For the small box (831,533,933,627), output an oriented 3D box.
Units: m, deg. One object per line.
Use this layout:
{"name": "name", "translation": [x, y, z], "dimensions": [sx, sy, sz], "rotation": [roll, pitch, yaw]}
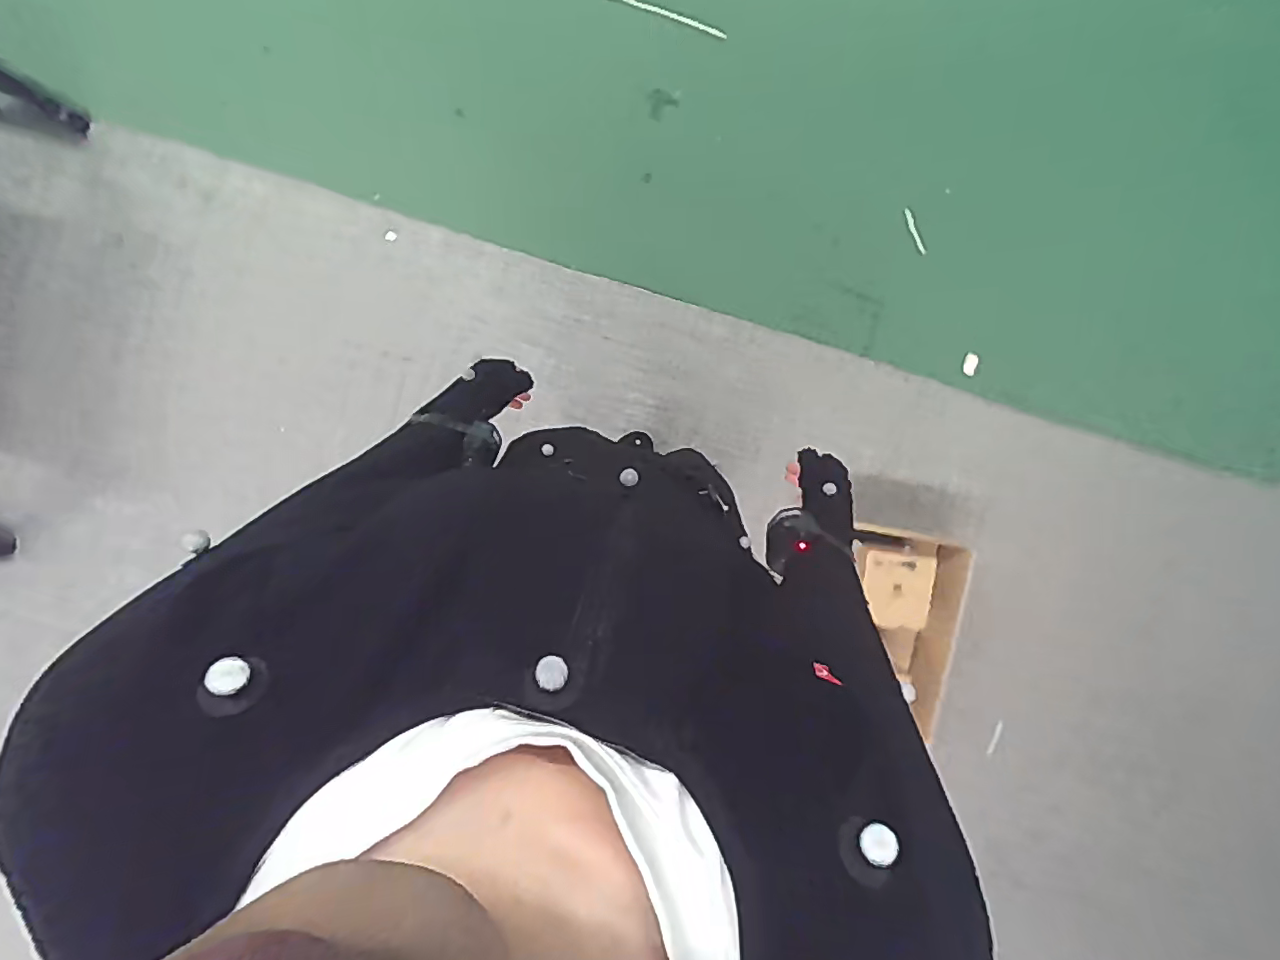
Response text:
{"name": "small box", "translation": [0.595, 0.244, 1.353], "dimensions": [0.168, 0.176, 0.179], "rotation": [8, 97, -2]}
